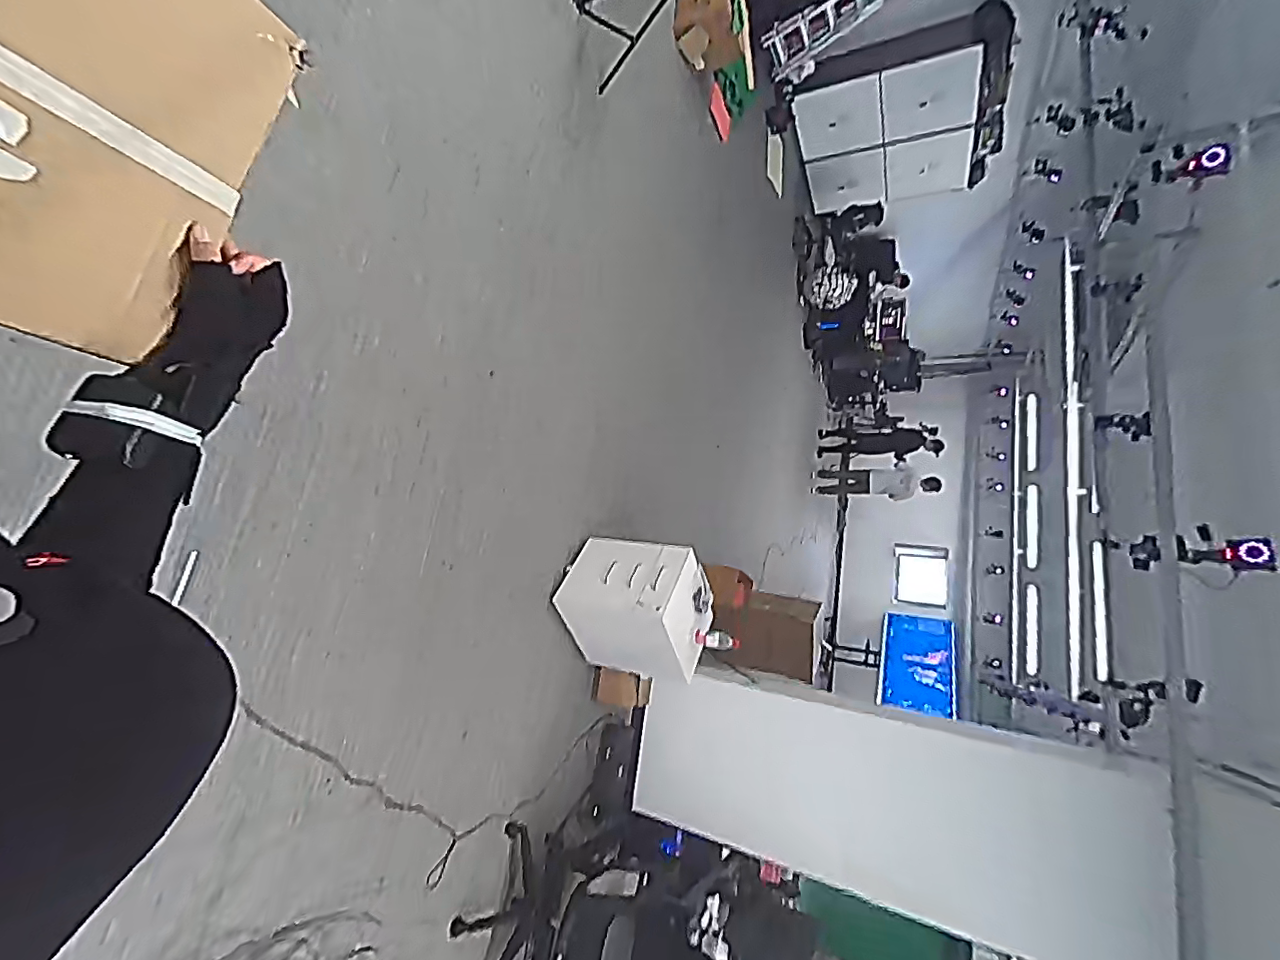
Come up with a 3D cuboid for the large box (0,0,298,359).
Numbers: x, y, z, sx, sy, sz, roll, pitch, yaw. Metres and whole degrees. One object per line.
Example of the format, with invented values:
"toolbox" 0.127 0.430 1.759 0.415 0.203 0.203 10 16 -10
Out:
"large box" -0.566 -0.325 0.374 0.408 0.320 0.320 27 83 -60
